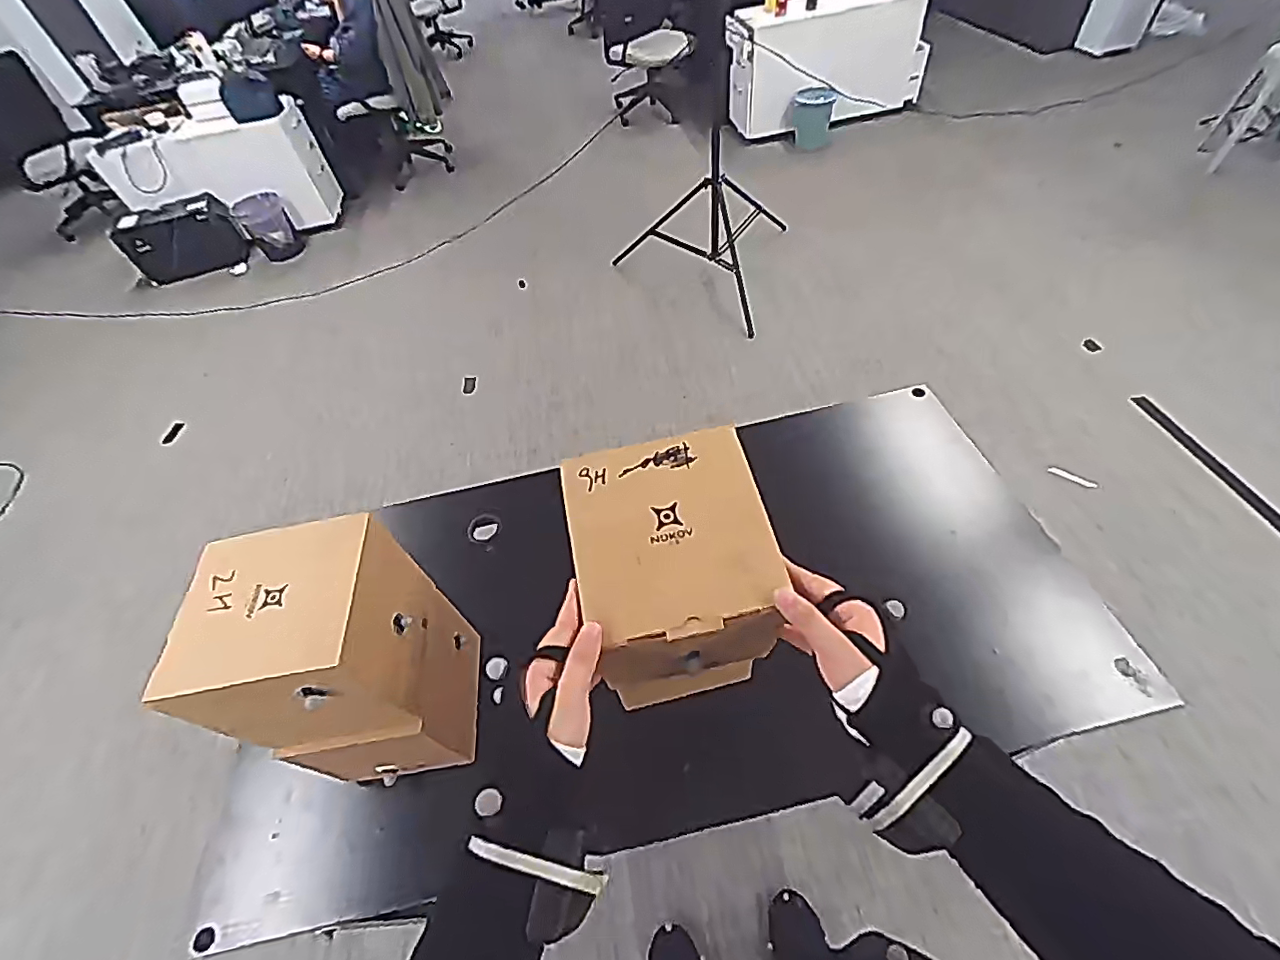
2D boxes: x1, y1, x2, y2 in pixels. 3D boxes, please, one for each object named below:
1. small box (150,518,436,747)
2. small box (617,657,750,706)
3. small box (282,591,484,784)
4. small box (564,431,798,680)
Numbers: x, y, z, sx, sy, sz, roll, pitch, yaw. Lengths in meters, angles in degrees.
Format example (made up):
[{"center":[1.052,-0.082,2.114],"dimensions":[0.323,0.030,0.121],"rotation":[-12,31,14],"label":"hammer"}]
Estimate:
[{"center":[-0.335,0.165,0.572],"dimensions":[0.179,0.176,0.168],"rotation":[-11,51,0],"label":"small box"},{"center":[0.042,0.179,0.715],"dimensions":[0.179,0.176,0.168],"rotation":[-13,52,-3],"label":"small box"},{"center":[-0.310,0.270,0.697],"dimensions":[0.168,0.176,0.179],"rotation":[-11,53,0],"label":"small box"},{"center":[0.033,0.083,0.517],"dimensions":[0.168,0.176,0.179],"rotation":[-12,61,-2],"label":"small box"}]
